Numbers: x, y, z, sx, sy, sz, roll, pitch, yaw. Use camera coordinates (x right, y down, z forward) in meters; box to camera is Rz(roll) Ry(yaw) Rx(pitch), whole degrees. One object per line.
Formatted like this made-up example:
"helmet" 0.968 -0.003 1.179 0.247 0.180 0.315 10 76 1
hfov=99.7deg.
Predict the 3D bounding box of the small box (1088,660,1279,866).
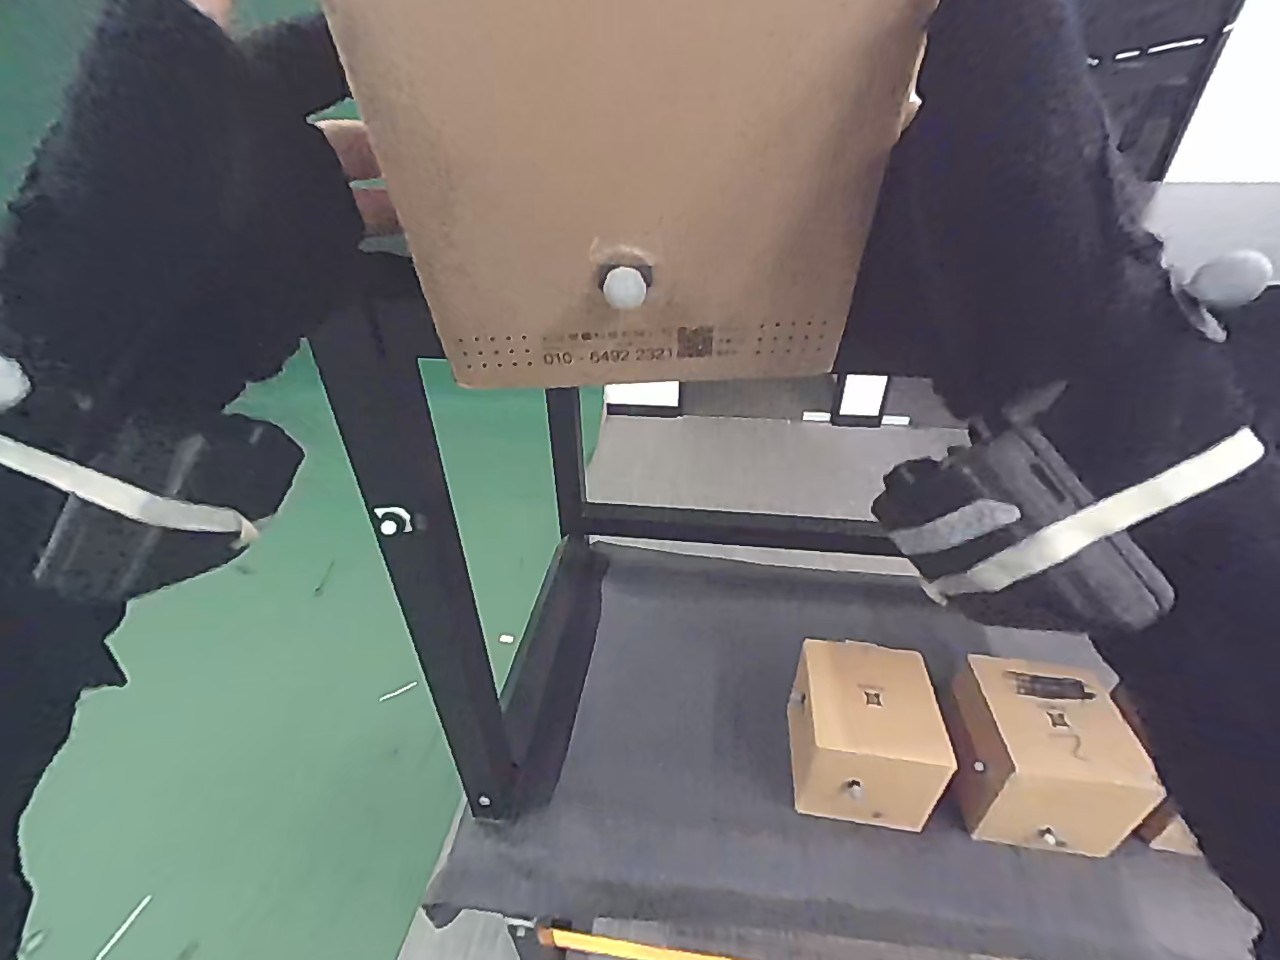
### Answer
"small box" 0.761 0.376 0.724 0.168 0.176 0.179 5 32 9

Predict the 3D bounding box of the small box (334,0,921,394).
"small box" -0.007 -0.157 0.236 0.168 0.176 0.179 -3 49 1

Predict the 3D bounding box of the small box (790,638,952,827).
"small box" 0.311 0.356 0.768 0.168 0.176 0.179 5 33 8
